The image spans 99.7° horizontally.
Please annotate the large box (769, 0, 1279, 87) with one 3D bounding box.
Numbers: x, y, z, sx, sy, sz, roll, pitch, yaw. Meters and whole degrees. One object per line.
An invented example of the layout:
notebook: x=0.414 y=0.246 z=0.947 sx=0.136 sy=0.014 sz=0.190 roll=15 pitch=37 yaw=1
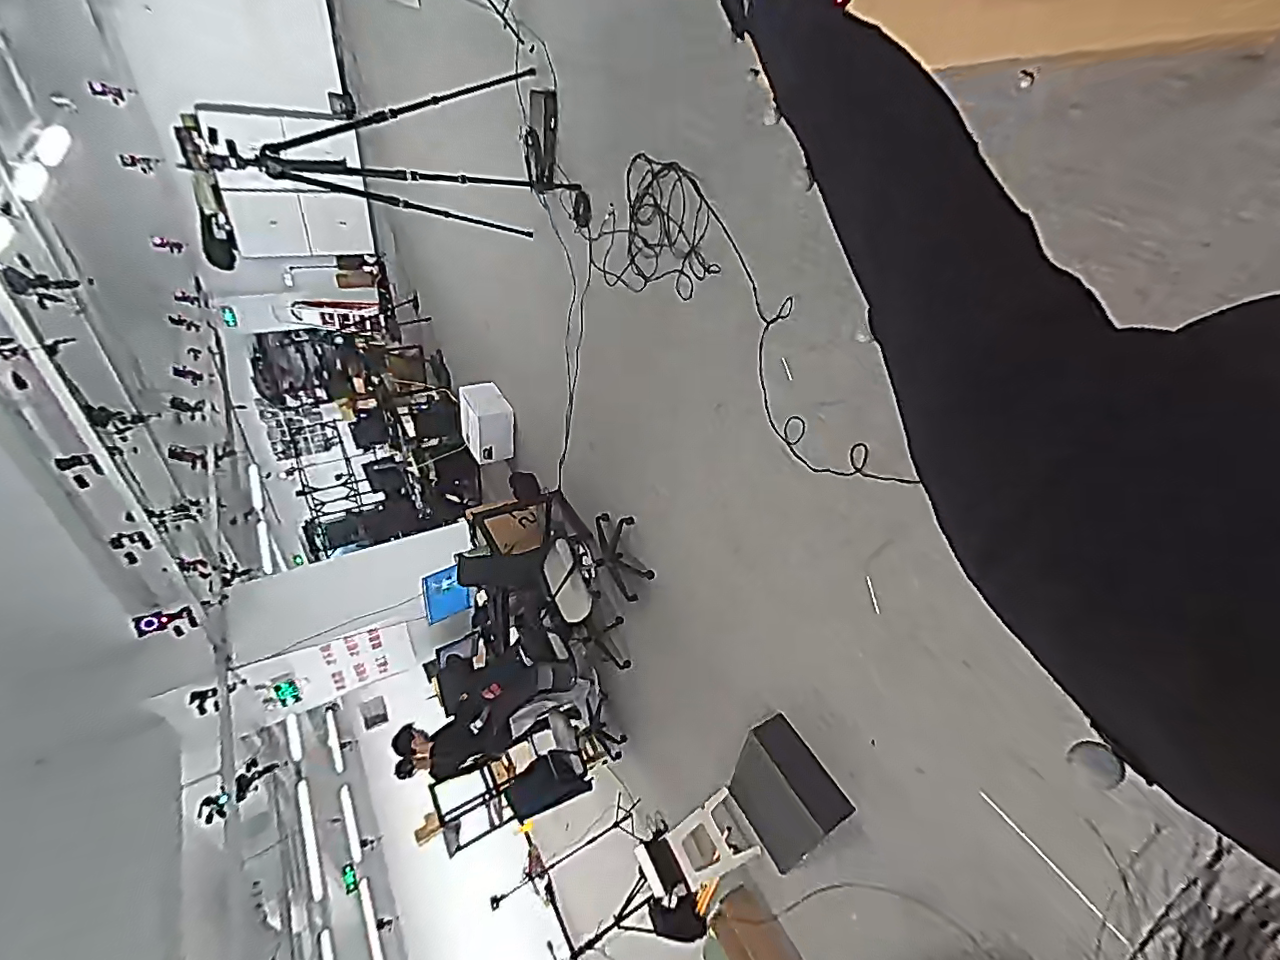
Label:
large box: x=0.366 y=-0.532 z=0.435 sx=0.408 sy=0.320 sz=0.320 roll=33 pitch=138 yaw=43
